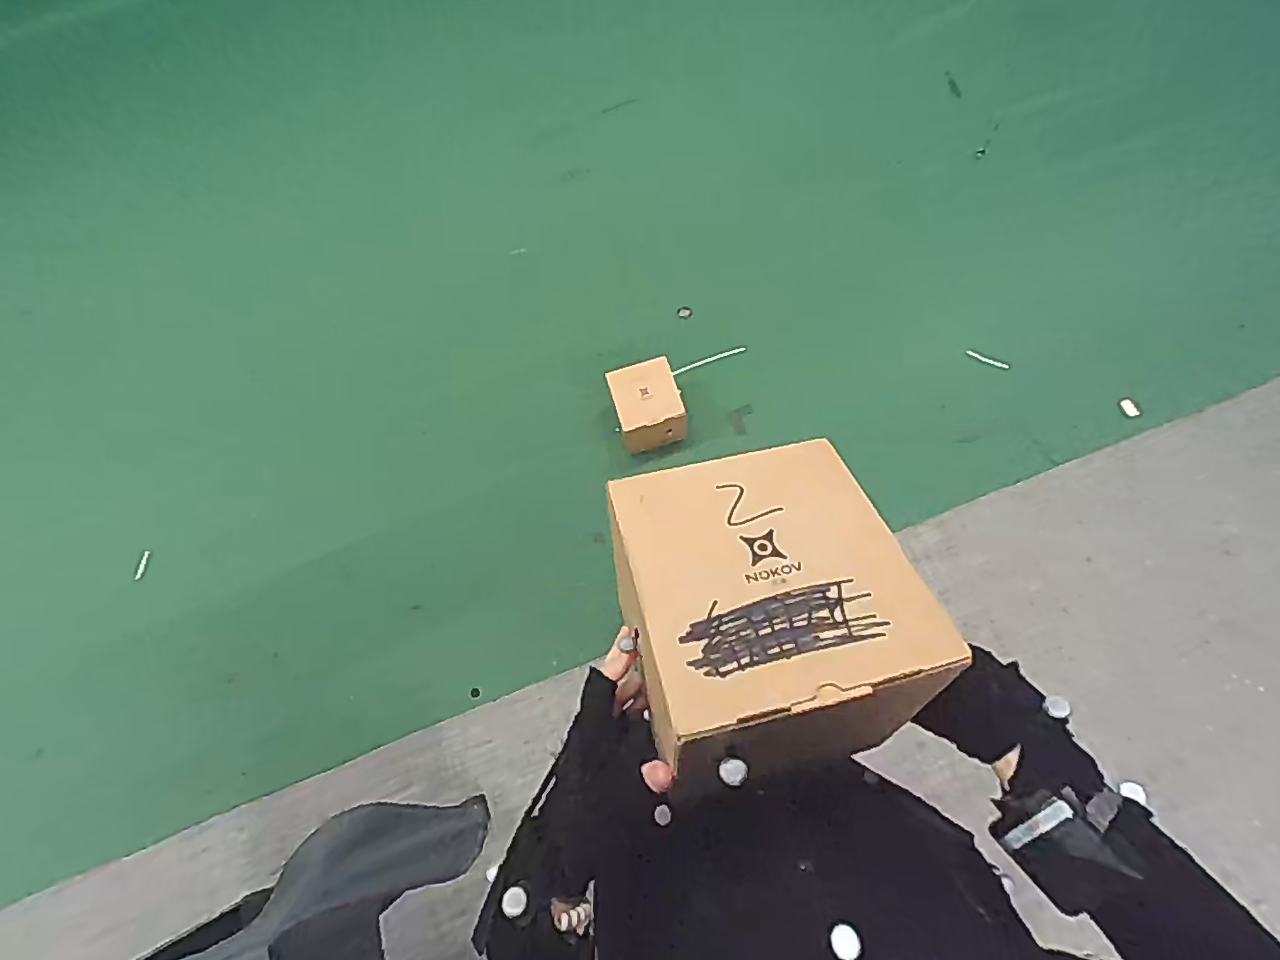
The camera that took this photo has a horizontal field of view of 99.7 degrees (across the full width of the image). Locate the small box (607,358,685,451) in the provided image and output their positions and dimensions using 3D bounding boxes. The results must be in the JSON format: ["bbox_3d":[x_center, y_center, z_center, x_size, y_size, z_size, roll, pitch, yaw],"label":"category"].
[{"bbox_3d":[0.019,-0.193,1.452,0.168,0.176,0.179,-17,72,-2],"label":"small box"}]
